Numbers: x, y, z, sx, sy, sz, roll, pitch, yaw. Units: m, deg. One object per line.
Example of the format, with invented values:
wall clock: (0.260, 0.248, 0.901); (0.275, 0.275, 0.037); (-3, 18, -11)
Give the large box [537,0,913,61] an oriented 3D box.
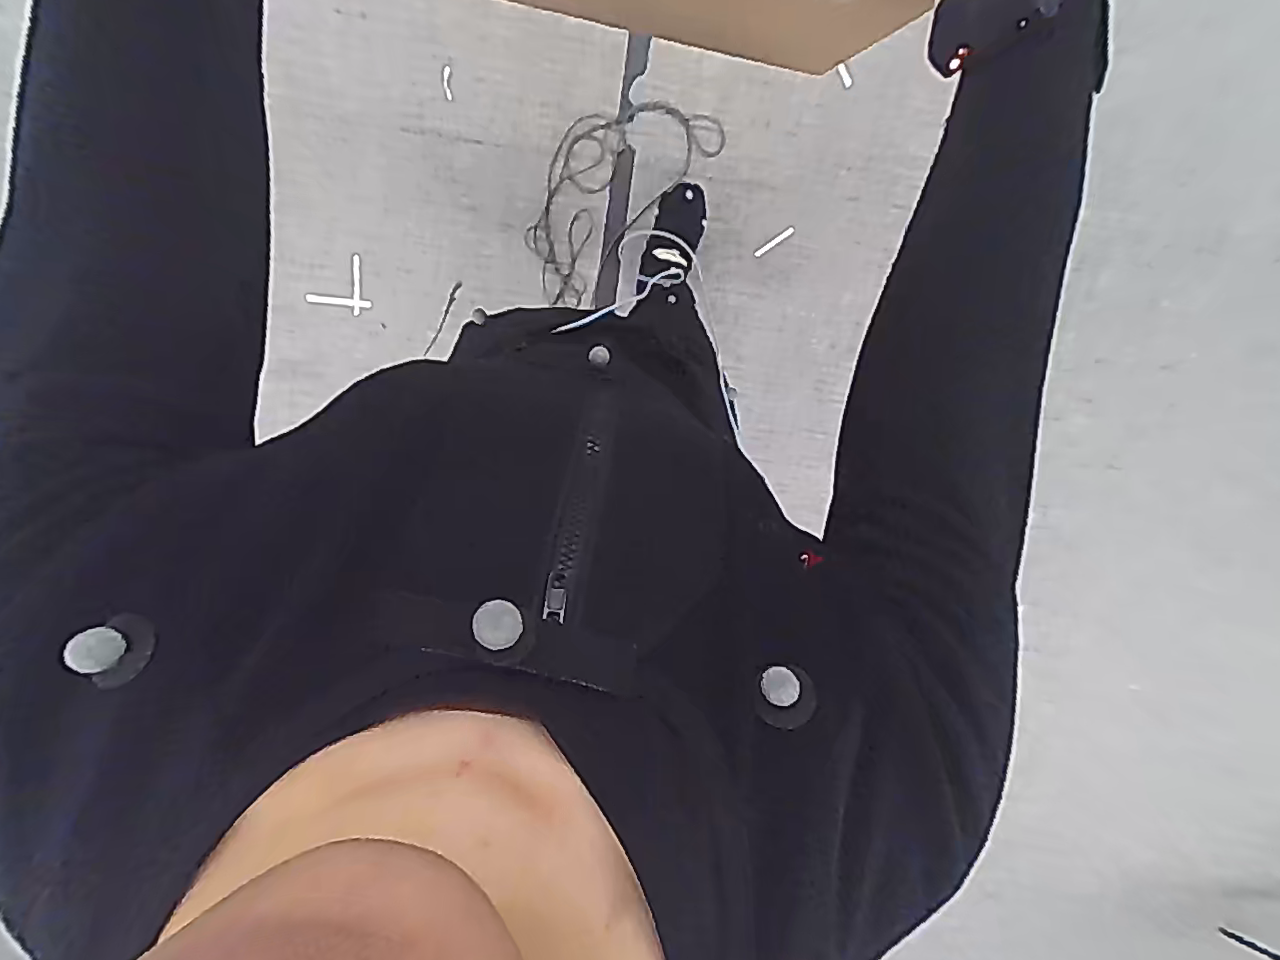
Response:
large box: (0.042, -0.555, 0.384); (0.408, 0.320, 0.320); (9, 119, -6)
